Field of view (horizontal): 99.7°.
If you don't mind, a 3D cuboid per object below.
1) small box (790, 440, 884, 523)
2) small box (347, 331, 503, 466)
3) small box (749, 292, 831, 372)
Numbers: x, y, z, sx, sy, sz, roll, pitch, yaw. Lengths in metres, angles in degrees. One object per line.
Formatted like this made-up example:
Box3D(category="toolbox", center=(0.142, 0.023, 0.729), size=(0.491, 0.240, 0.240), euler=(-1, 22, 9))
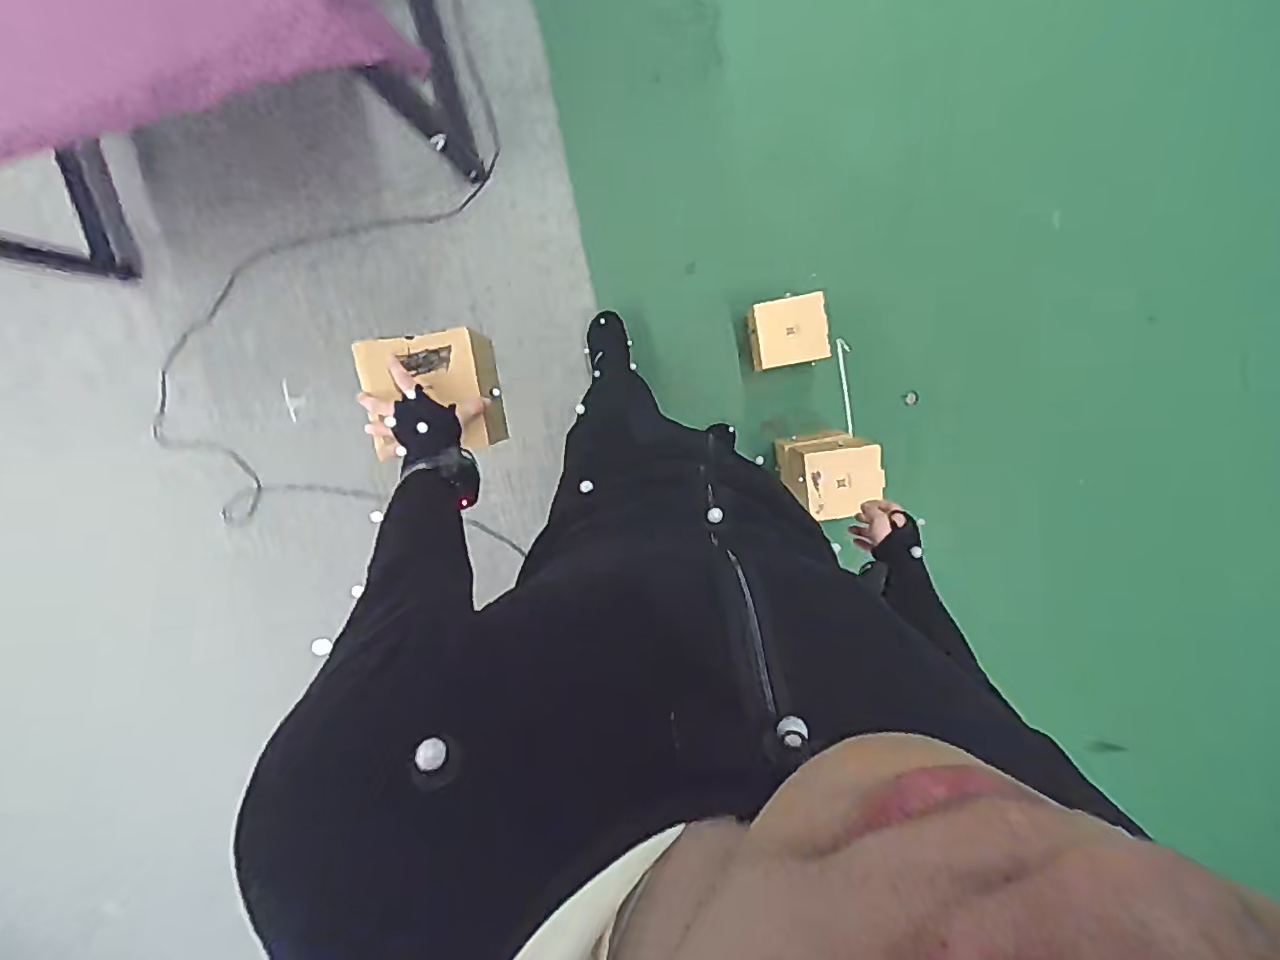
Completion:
Box3D(category="small box", center=(0.480, -0.002, 1.331), size=(0.179, 0.176, 0.168), euler=(-7, 99, 5))
Box3D(category="small box", center=(-0.325, -0.127, 0.853), size=(0.168, 0.176, 0.179), euler=(-9, 100, -2))
Box3D(category="small box", center=(0.392, -0.387, 1.442), size=(0.179, 0.176, 0.168), euler=(-10, 98, 5))
